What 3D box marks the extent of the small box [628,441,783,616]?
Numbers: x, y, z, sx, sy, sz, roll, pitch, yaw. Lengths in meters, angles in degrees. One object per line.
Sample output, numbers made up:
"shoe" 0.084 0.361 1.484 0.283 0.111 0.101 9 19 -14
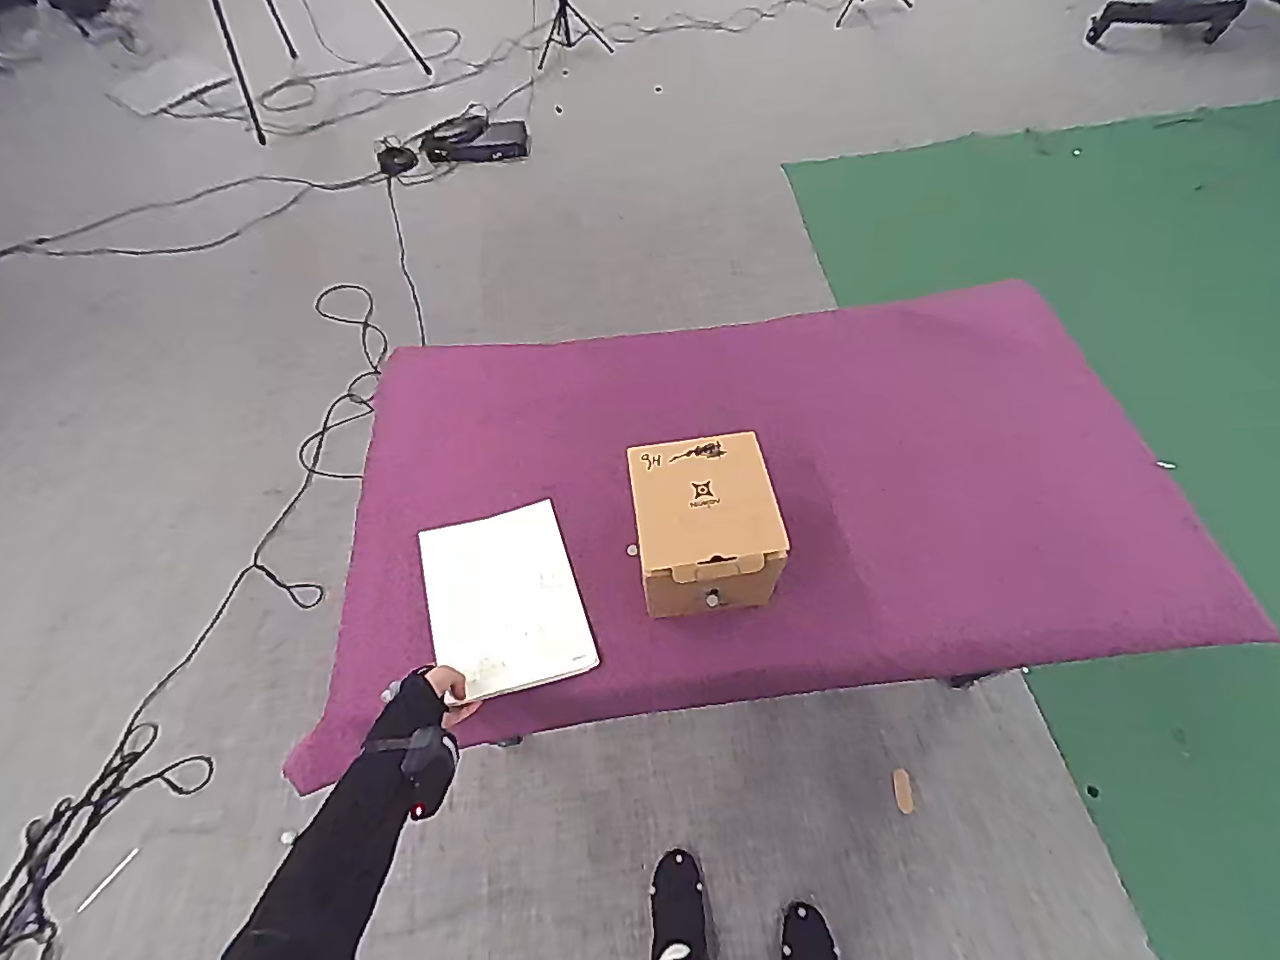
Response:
"small box" 0.079 0.073 0.717 0.168 0.176 0.179 -7 59 -1
